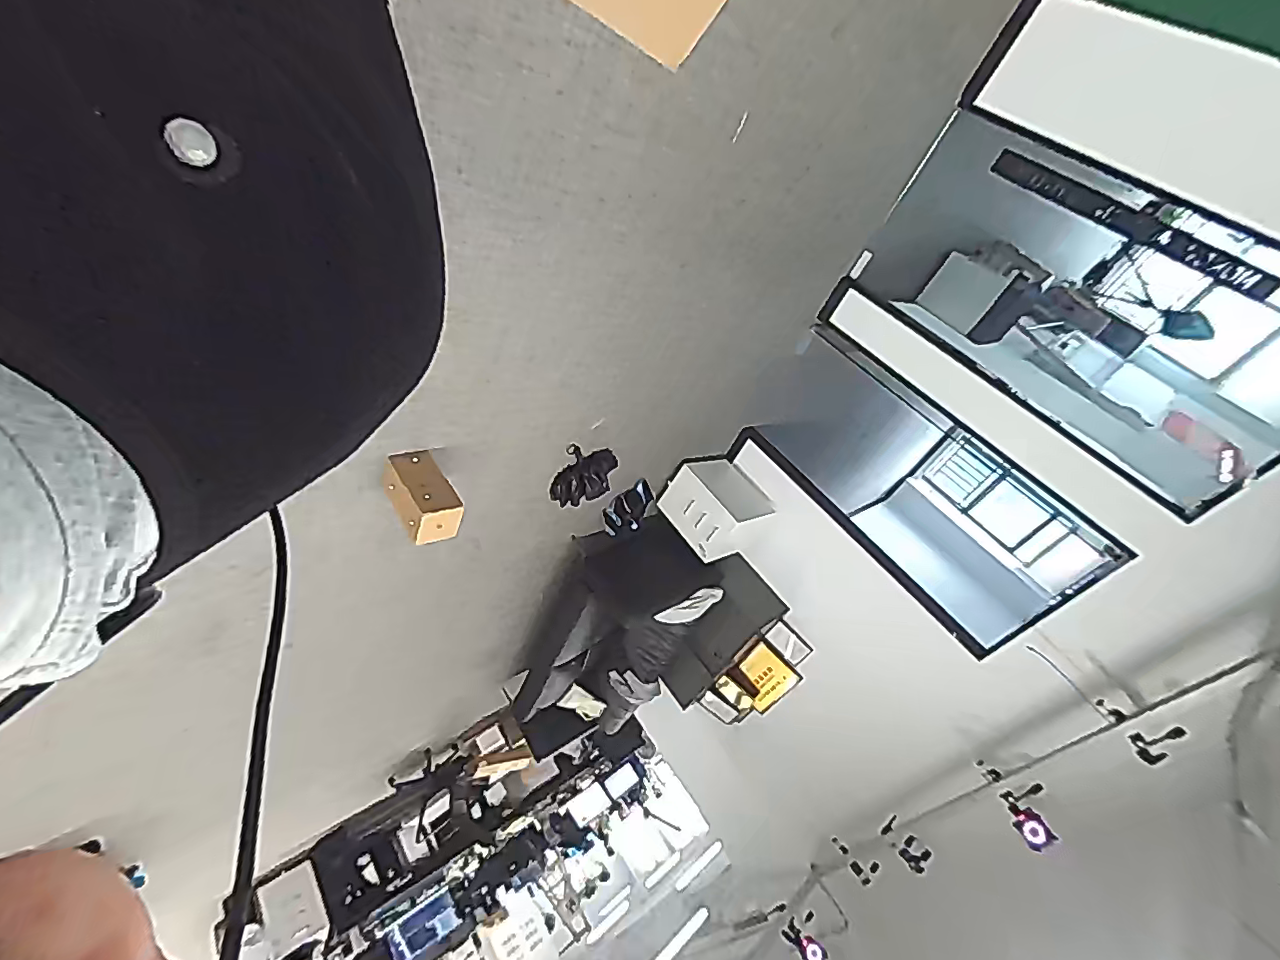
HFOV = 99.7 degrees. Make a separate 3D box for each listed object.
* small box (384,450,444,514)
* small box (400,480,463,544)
[{"bbox_3d":[-0.910,0.006,2.165,0.168,0.176,0.179,-16,145,-42],"label":"small box"},{"bbox_3d":[-0.812,0.115,2.096,0.168,0.176,0.179,-13,145,-43],"label":"small box"}]
